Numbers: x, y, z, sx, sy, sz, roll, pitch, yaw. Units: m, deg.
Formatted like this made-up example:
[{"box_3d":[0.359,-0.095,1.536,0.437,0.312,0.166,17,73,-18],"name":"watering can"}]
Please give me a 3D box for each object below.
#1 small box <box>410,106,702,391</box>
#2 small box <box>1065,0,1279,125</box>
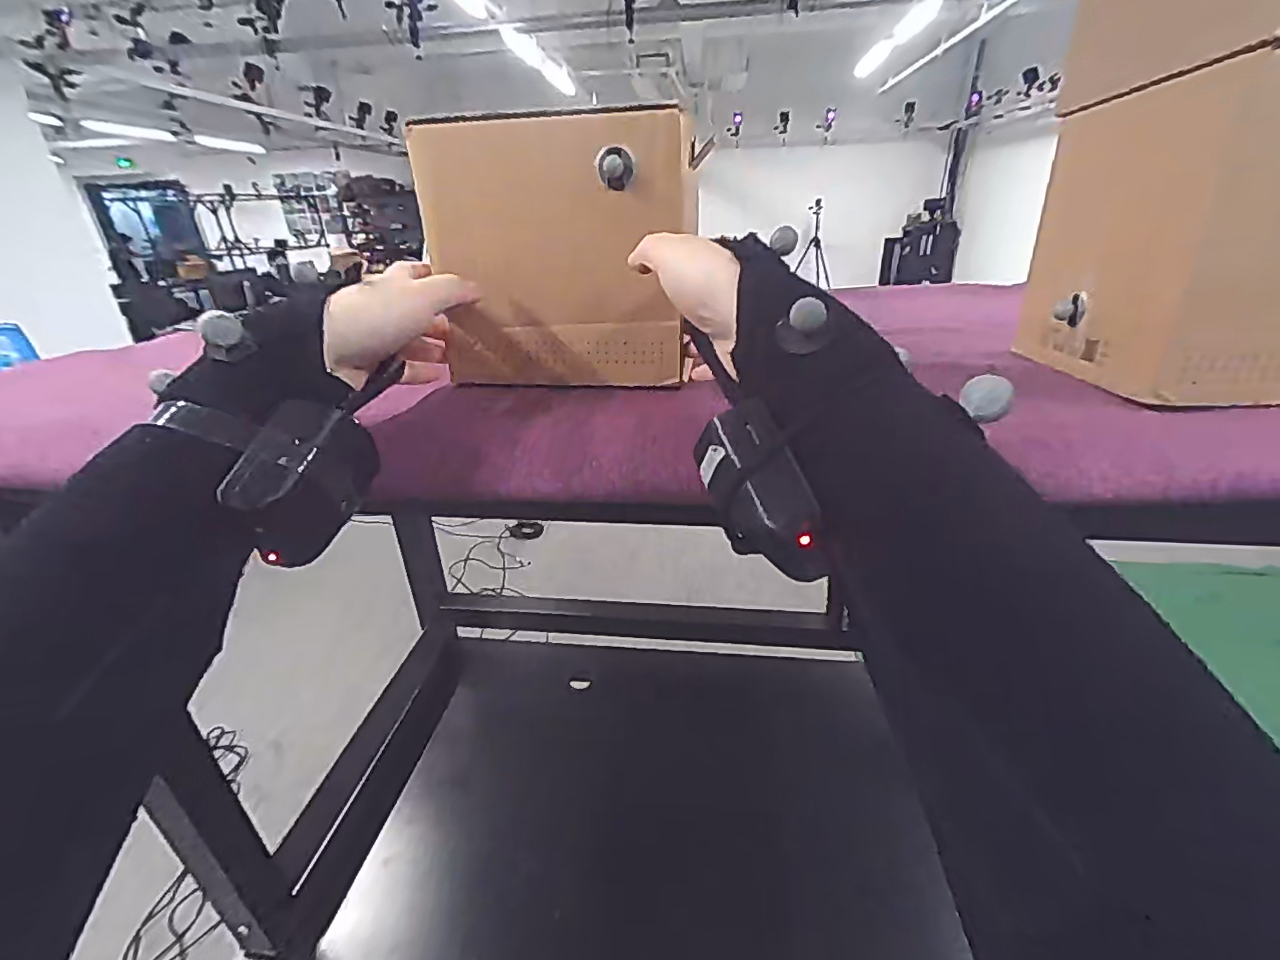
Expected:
[{"box_3d":[-0.044,-0.170,0.423,0.179,0.176,0.168,3,25,8],"name":"small box"},{"box_3d":[0.361,-0.295,0.266,0.168,0.176,0.179,1,24,9],"name":"small box"}]
